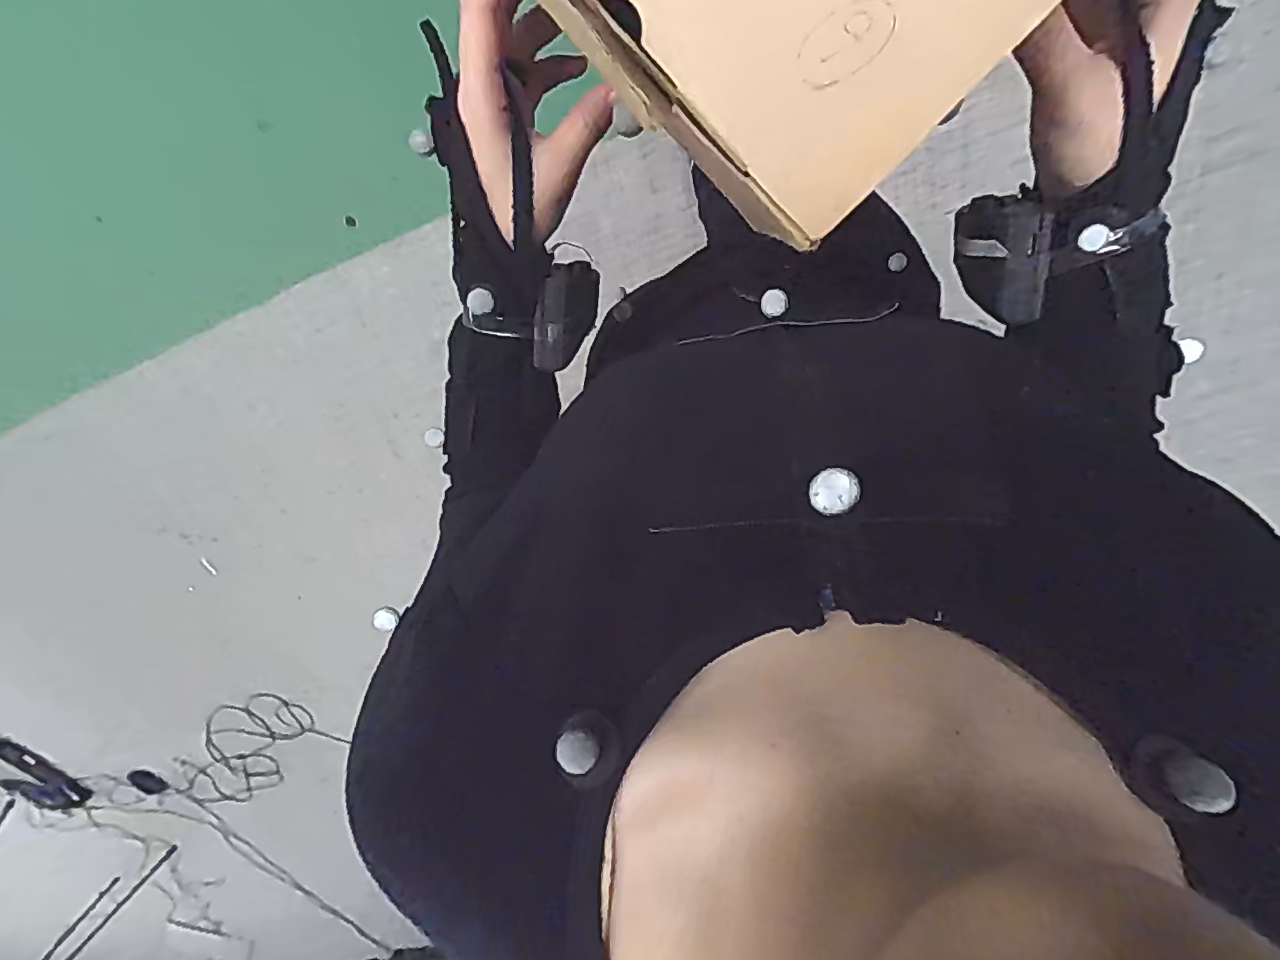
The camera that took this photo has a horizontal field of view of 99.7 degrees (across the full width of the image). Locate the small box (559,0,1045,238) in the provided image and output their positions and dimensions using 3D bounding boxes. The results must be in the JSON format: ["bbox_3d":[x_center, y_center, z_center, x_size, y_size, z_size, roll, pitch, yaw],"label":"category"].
[{"bbox_3d":[0.062,-0.219,0.199,0.168,0.176,0.179,41,114,-13],"label":"small box"}]
